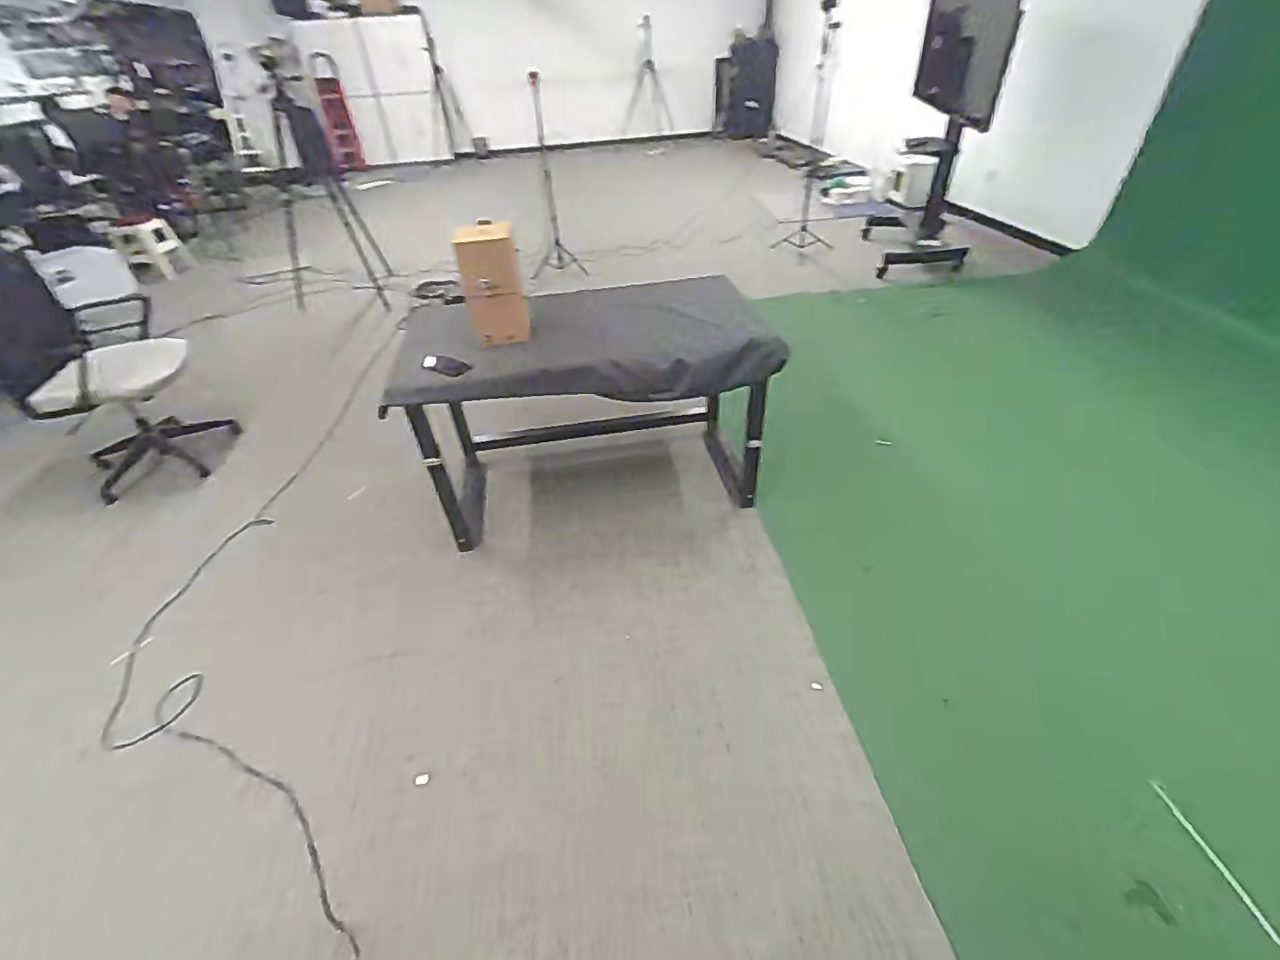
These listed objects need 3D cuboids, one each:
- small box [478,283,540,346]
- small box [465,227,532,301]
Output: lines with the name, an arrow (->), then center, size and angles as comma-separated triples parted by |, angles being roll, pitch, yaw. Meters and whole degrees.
small box -> -0.430, -0.555, 1.801 | 0.168, 0.176, 0.179 | -6, 38, -4
small box -> -0.436, -0.677, 1.695 | 0.168, 0.176, 0.179 | -8, 40, -4
